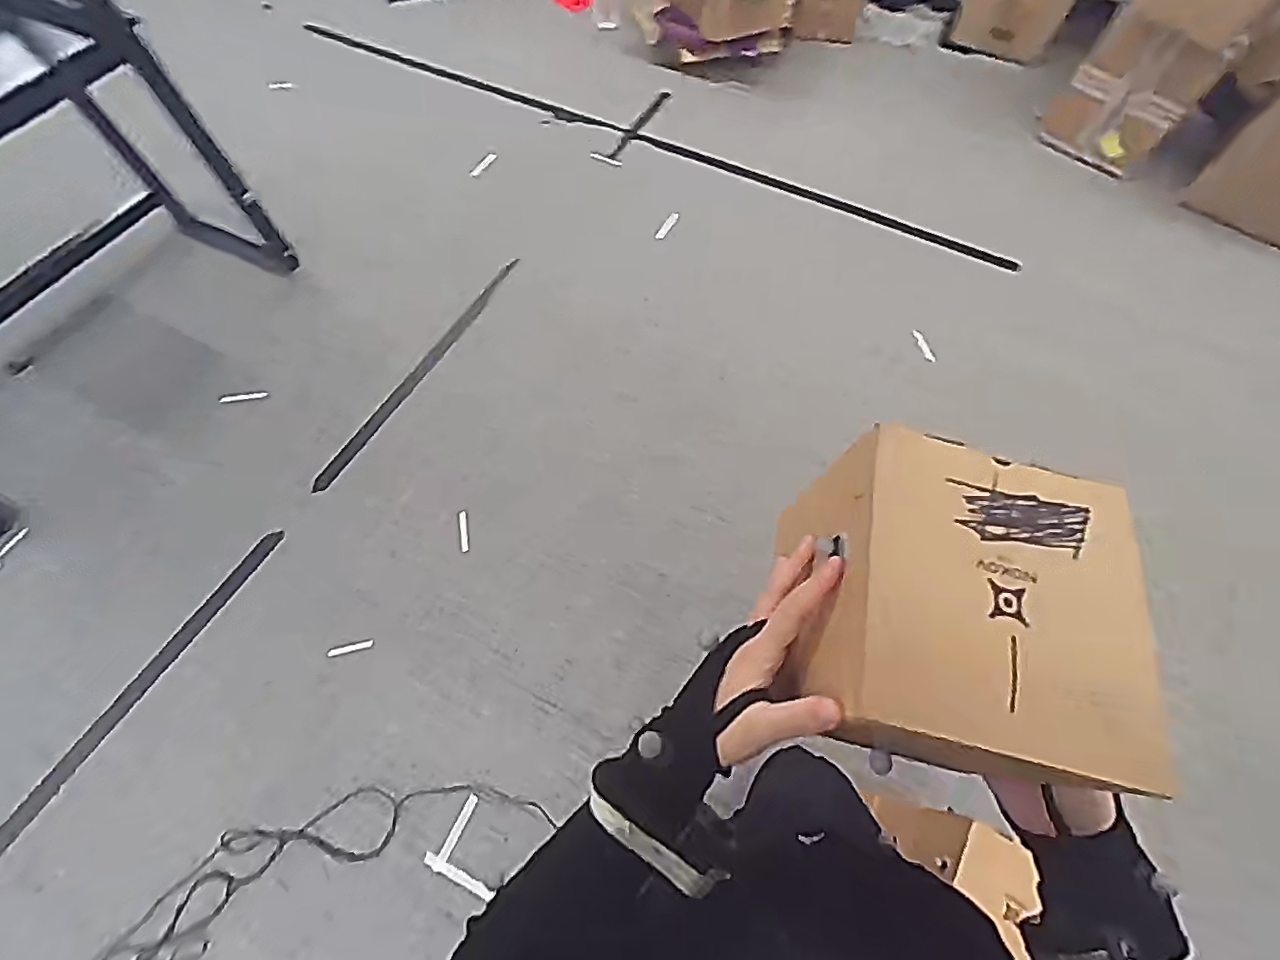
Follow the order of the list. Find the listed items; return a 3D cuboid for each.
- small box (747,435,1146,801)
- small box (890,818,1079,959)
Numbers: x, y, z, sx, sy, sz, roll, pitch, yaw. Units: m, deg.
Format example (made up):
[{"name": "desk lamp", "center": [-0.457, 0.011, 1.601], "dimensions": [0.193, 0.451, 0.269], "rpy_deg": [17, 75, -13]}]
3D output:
[{"name": "small box", "center": [0.185, 0.100, 0.380], "dimensions": [0.168, 0.176, 0.179], "rpy_deg": [15, 65, -1]}, {"name": "small box", "center": [0.521, 0.660, 0.839], "dimensions": [0.168, 0.176, 0.179], "rpy_deg": [30, 67, 14]}]
